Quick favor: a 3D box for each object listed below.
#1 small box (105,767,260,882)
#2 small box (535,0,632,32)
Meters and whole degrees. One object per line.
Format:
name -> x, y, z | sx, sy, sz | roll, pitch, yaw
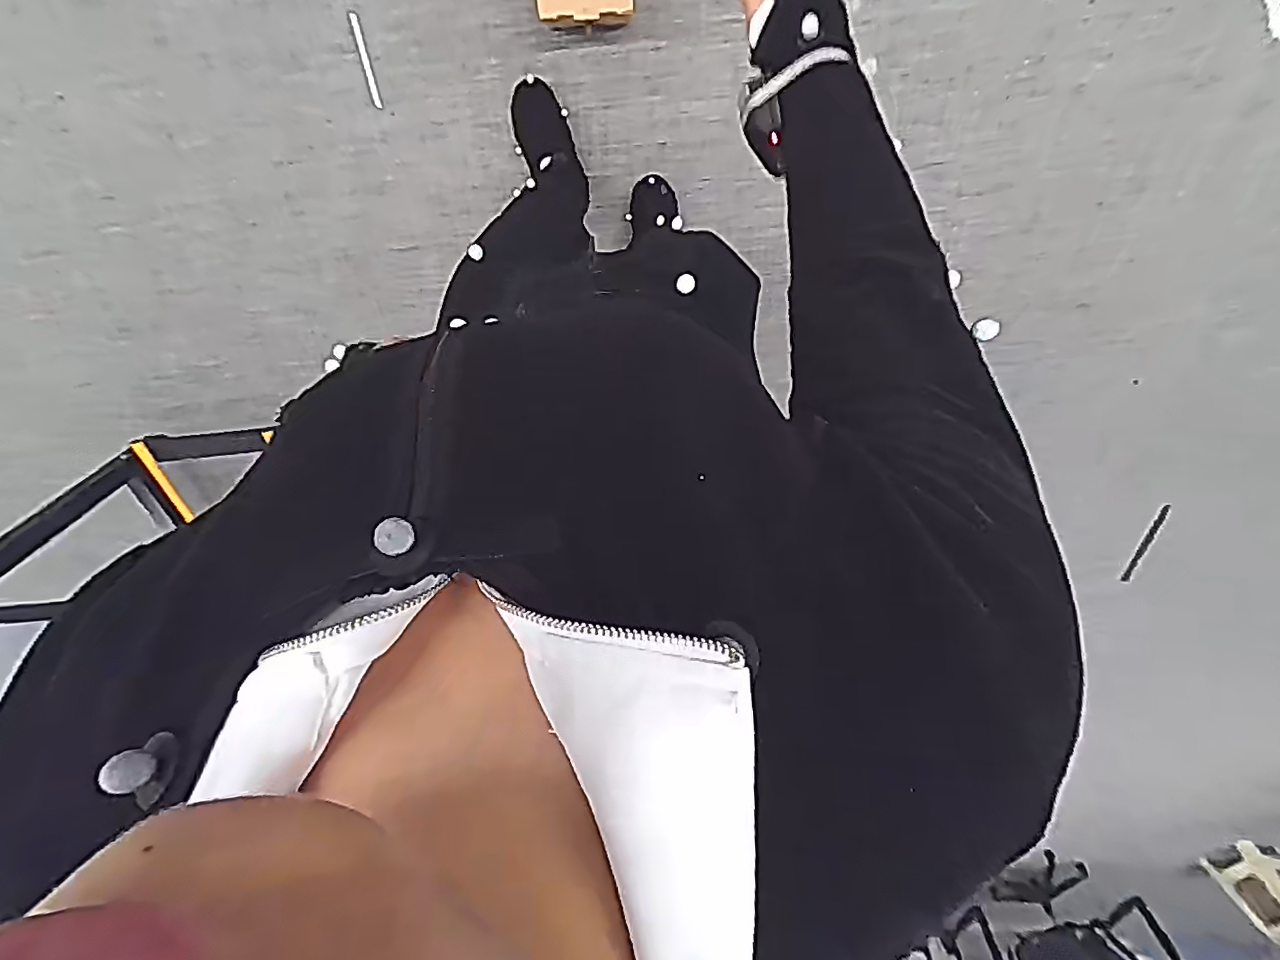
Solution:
small box -> -1.008, 0.771, 1.214 | 0.168, 0.176, 0.179 | -4, 124, 1
small box -> -0.099, -0.905, 0.950 | 0.168, 0.176, 0.179 | -3, 126, 0
